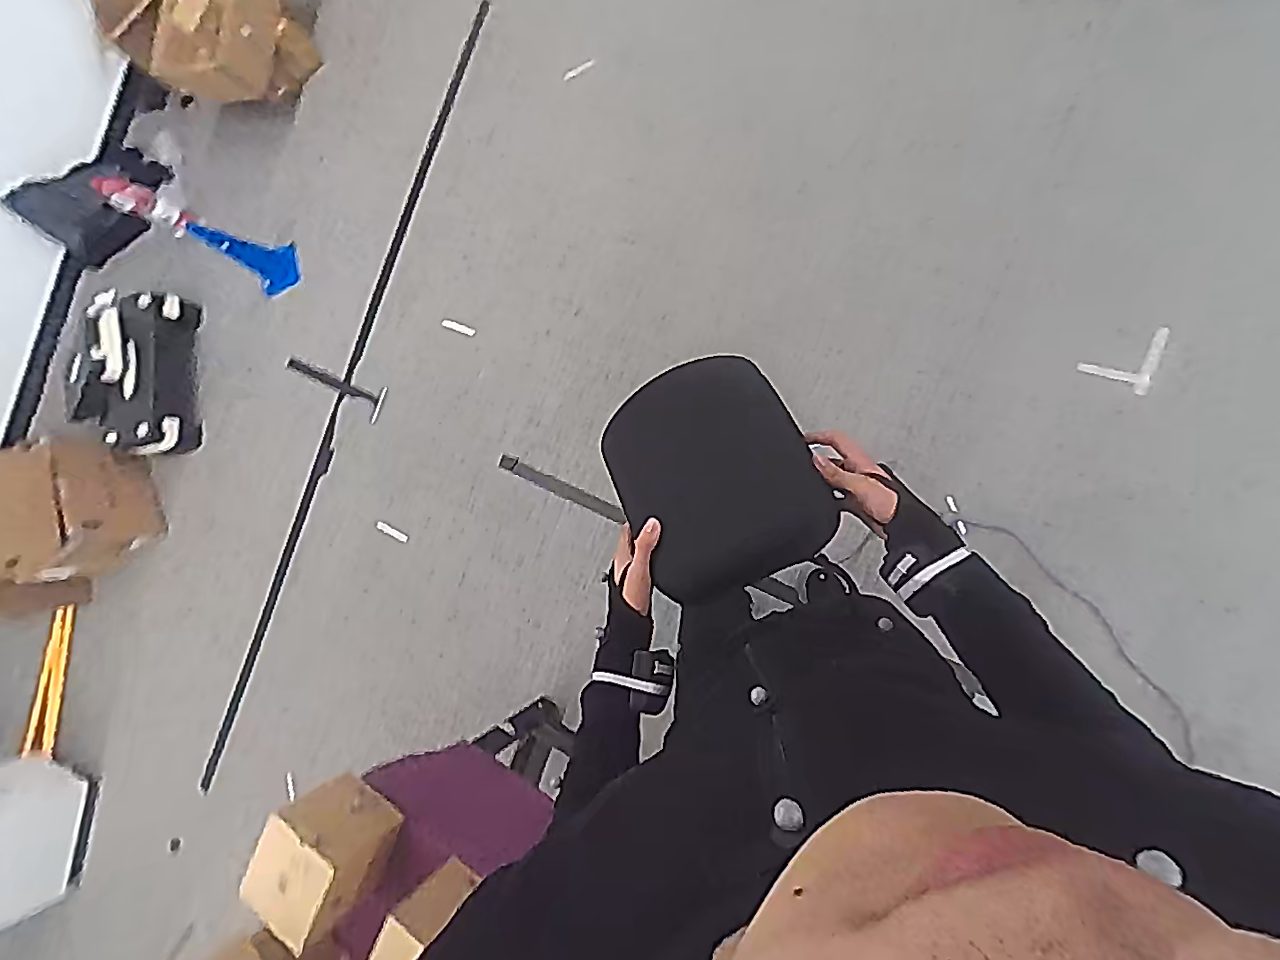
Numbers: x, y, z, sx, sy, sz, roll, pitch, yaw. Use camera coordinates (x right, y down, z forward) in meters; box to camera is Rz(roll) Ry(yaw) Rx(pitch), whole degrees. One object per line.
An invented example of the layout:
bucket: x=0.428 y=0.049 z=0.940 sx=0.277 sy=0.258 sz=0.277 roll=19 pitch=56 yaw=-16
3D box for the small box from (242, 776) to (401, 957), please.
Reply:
small box: x=-0.585 y=0.707 z=1.012 sx=0.168 sy=0.176 sz=0.179 roll=26 pitch=95 yaw=17

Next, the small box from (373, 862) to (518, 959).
small box: x=-0.338 y=0.819 z=0.925 sx=0.168 sy=0.176 sz=0.179 roll=25 pitch=93 yaw=18
